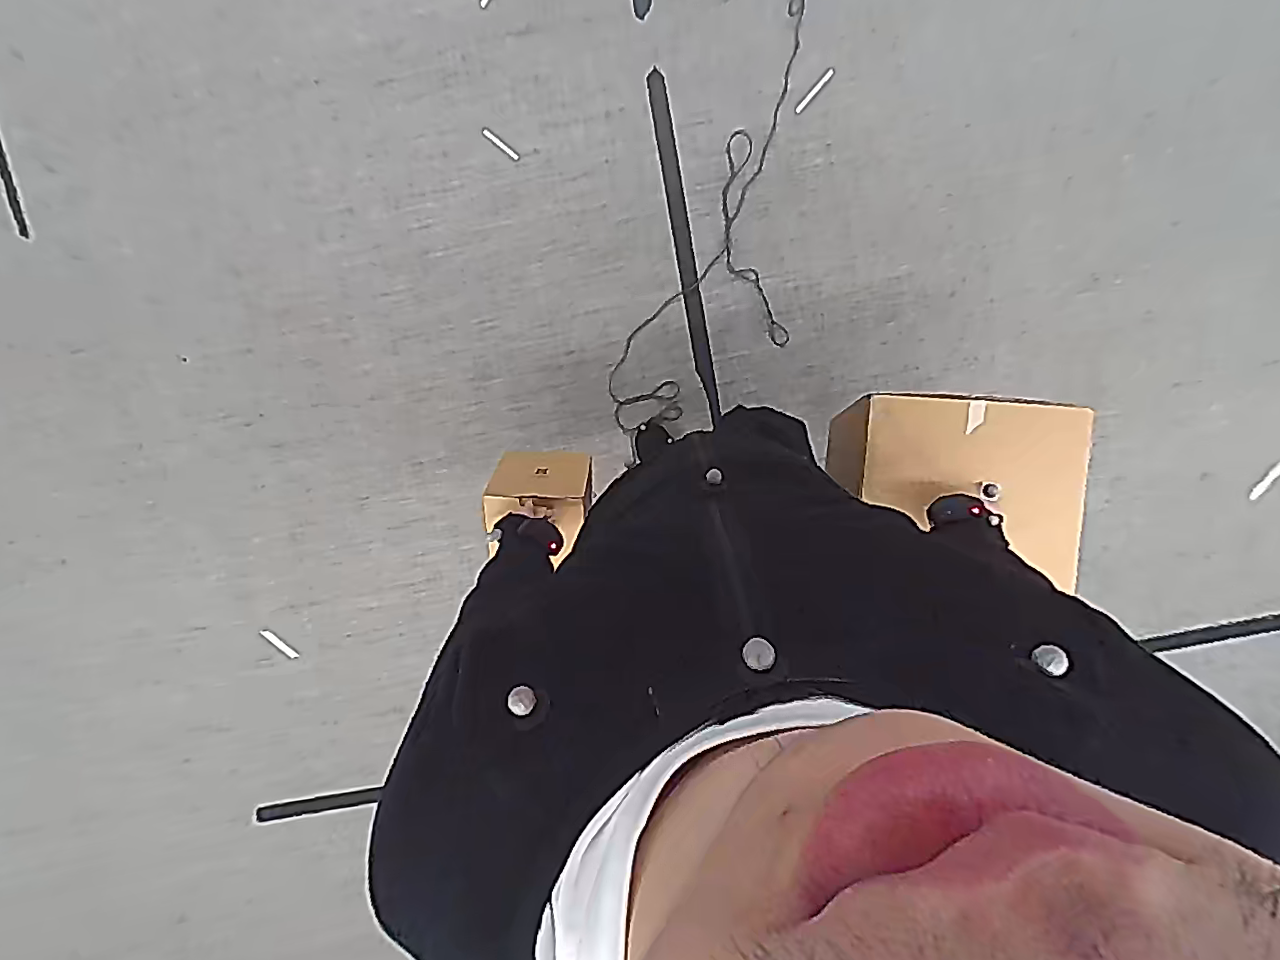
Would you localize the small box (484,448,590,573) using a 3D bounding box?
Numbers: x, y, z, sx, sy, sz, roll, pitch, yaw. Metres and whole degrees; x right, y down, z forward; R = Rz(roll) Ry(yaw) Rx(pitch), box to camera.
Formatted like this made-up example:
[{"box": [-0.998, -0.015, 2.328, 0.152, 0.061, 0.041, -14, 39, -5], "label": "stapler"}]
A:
[{"box": [-0.179, 0.055, 0.998, 0.168, 0.179, 0.176, 3, 119, -3], "label": "small box"}]
